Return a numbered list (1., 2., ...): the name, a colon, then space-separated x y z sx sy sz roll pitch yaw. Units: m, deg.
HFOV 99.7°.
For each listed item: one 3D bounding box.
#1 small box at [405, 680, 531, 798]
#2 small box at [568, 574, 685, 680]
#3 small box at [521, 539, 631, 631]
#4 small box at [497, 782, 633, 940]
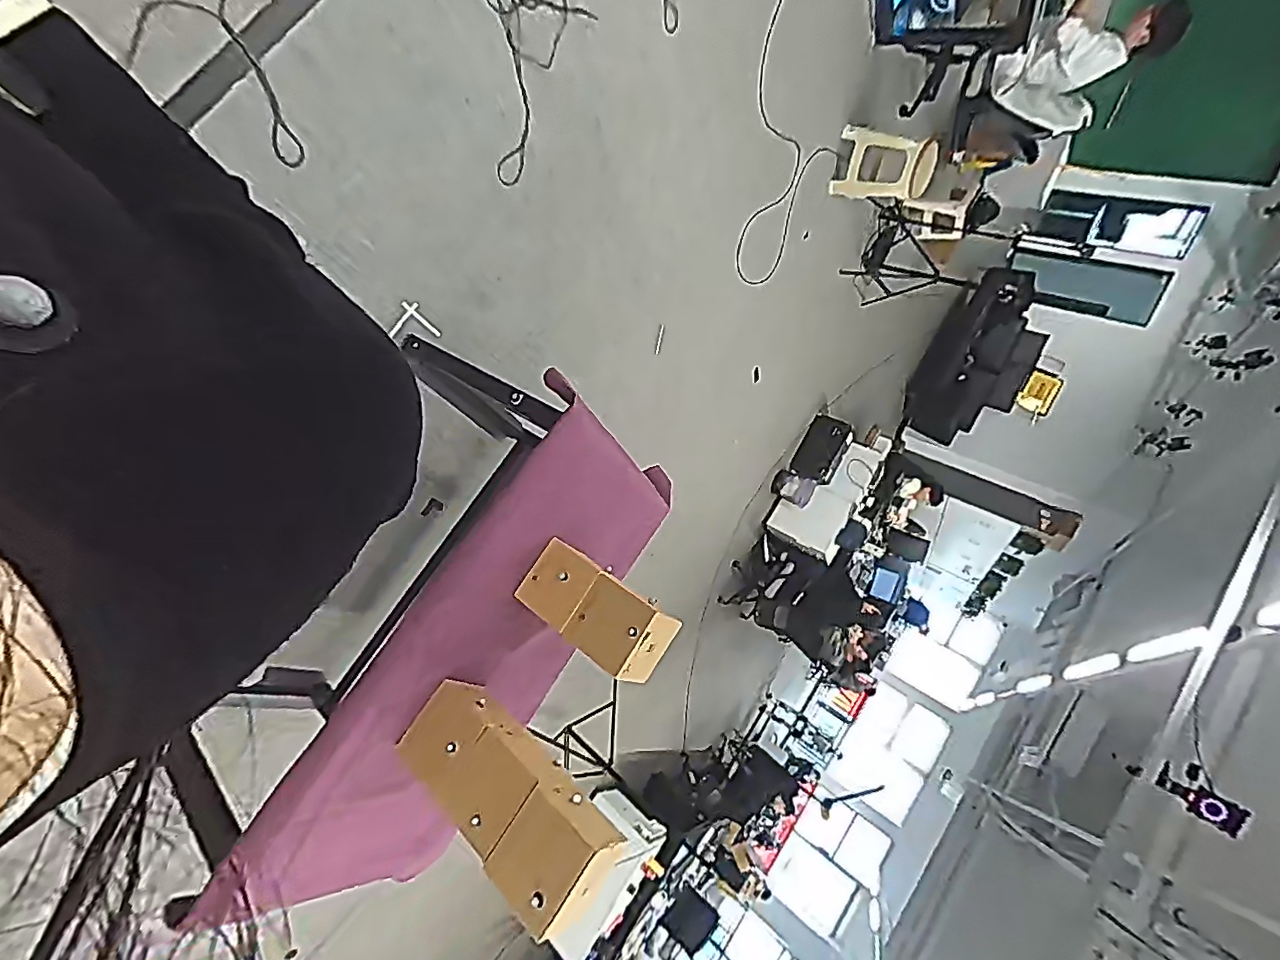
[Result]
1. small box: -0.390 0.580 1.223 0.179 0.176 0.168 -54 147 -10
2. small box: -0.029 0.336 1.236 0.168 0.176 0.179 -58 150 -7
3. small box: -0.155 0.265 1.315 0.168 0.176 0.179 -57 149 -8
4. small box: -0.150 0.721 1.047 0.179 0.176 0.168 -55 148 -10
